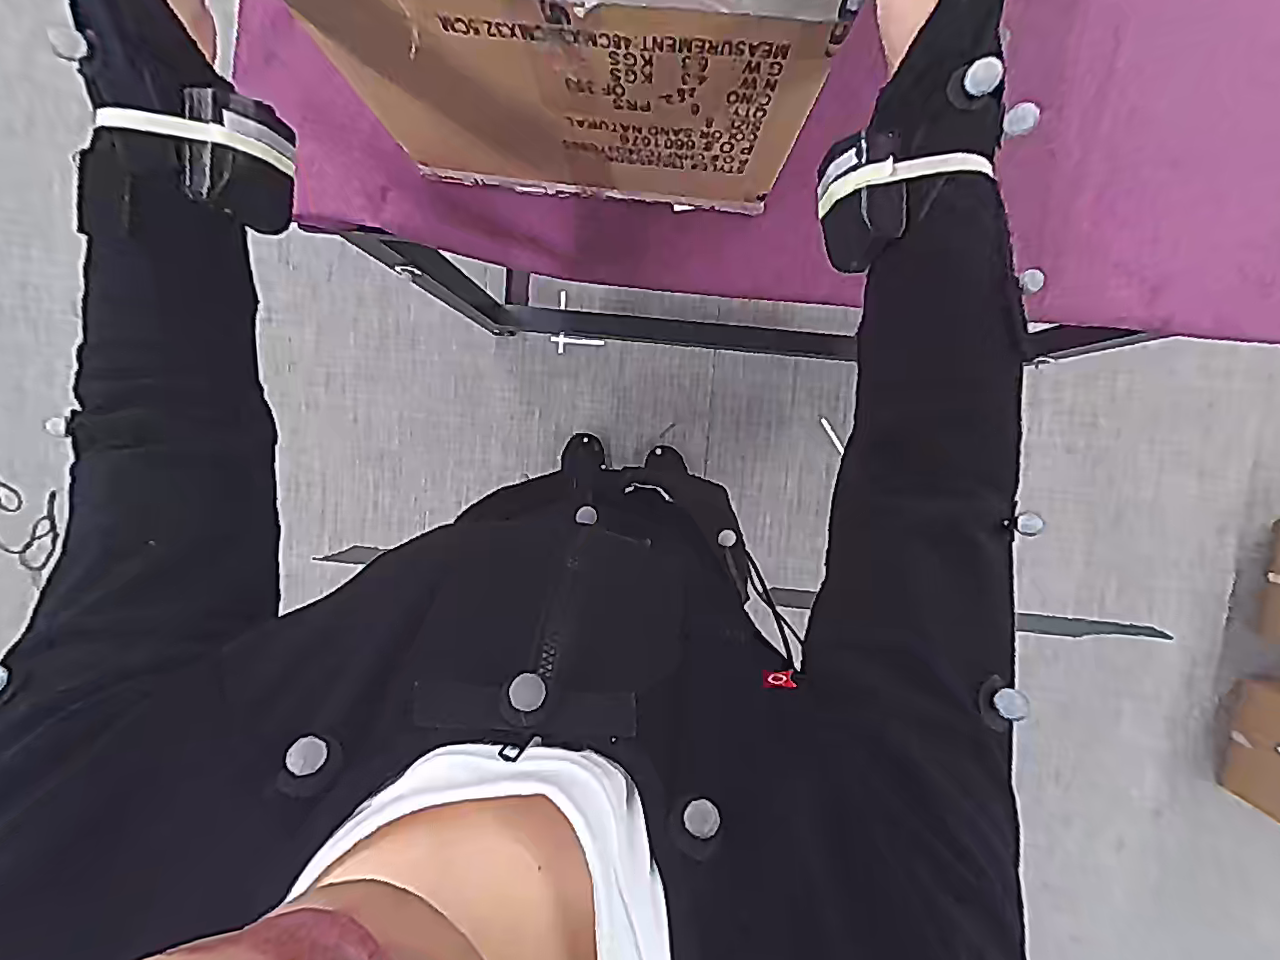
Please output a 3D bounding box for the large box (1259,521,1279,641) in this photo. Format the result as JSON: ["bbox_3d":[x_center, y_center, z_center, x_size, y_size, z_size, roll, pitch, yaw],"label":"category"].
[{"bbox_3d":[1.782,0.271,1.216,0.408,0.320,0.320,4,94,2],"label":"large box"}]
